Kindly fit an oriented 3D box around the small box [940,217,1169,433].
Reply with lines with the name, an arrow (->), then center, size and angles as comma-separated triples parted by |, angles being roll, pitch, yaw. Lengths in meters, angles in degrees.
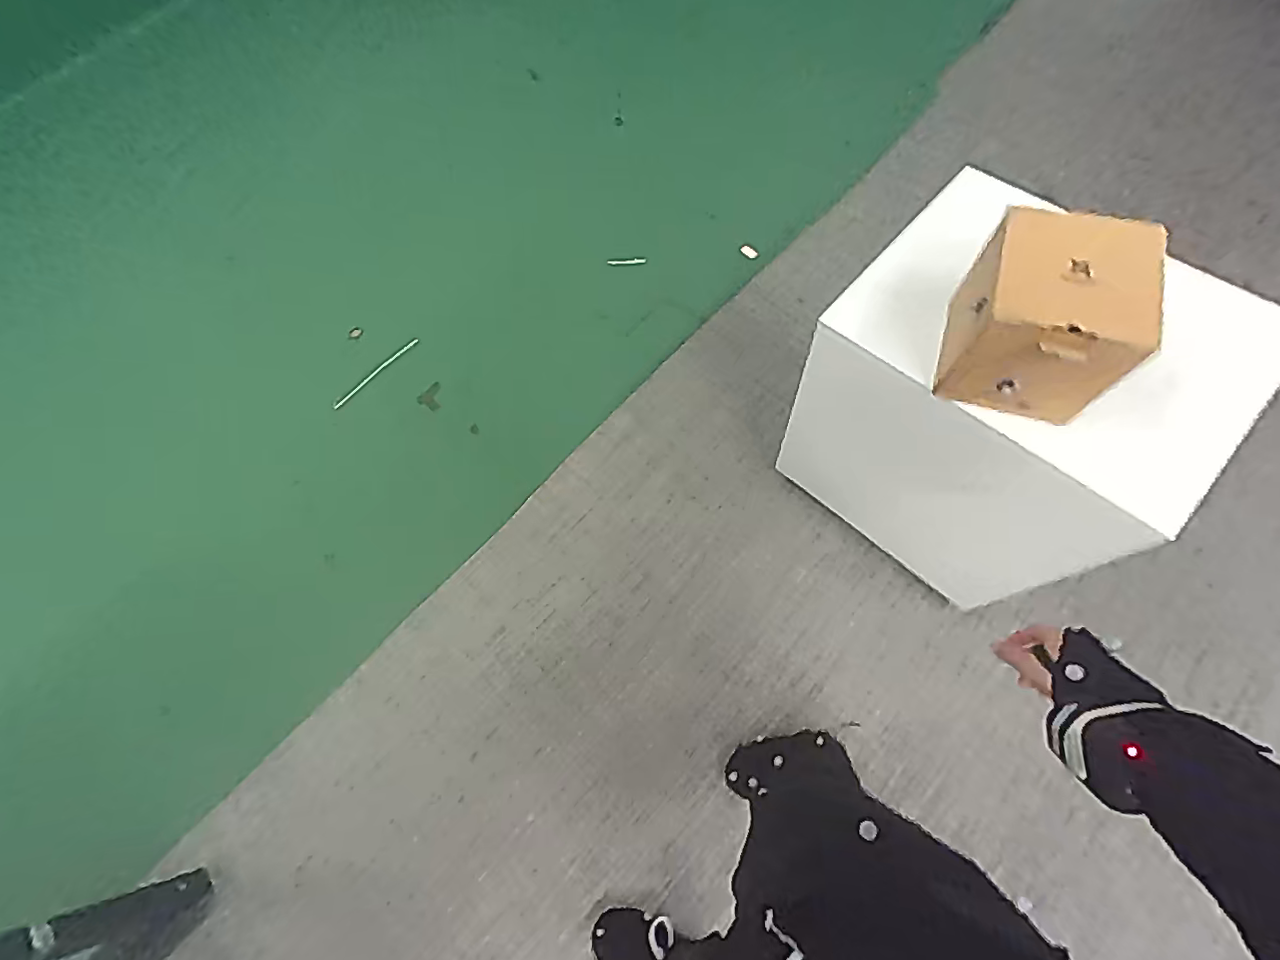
small box -> 0.505, -0.188, 0.680 | 0.168, 0.176, 0.179 | 17, 70, 12
